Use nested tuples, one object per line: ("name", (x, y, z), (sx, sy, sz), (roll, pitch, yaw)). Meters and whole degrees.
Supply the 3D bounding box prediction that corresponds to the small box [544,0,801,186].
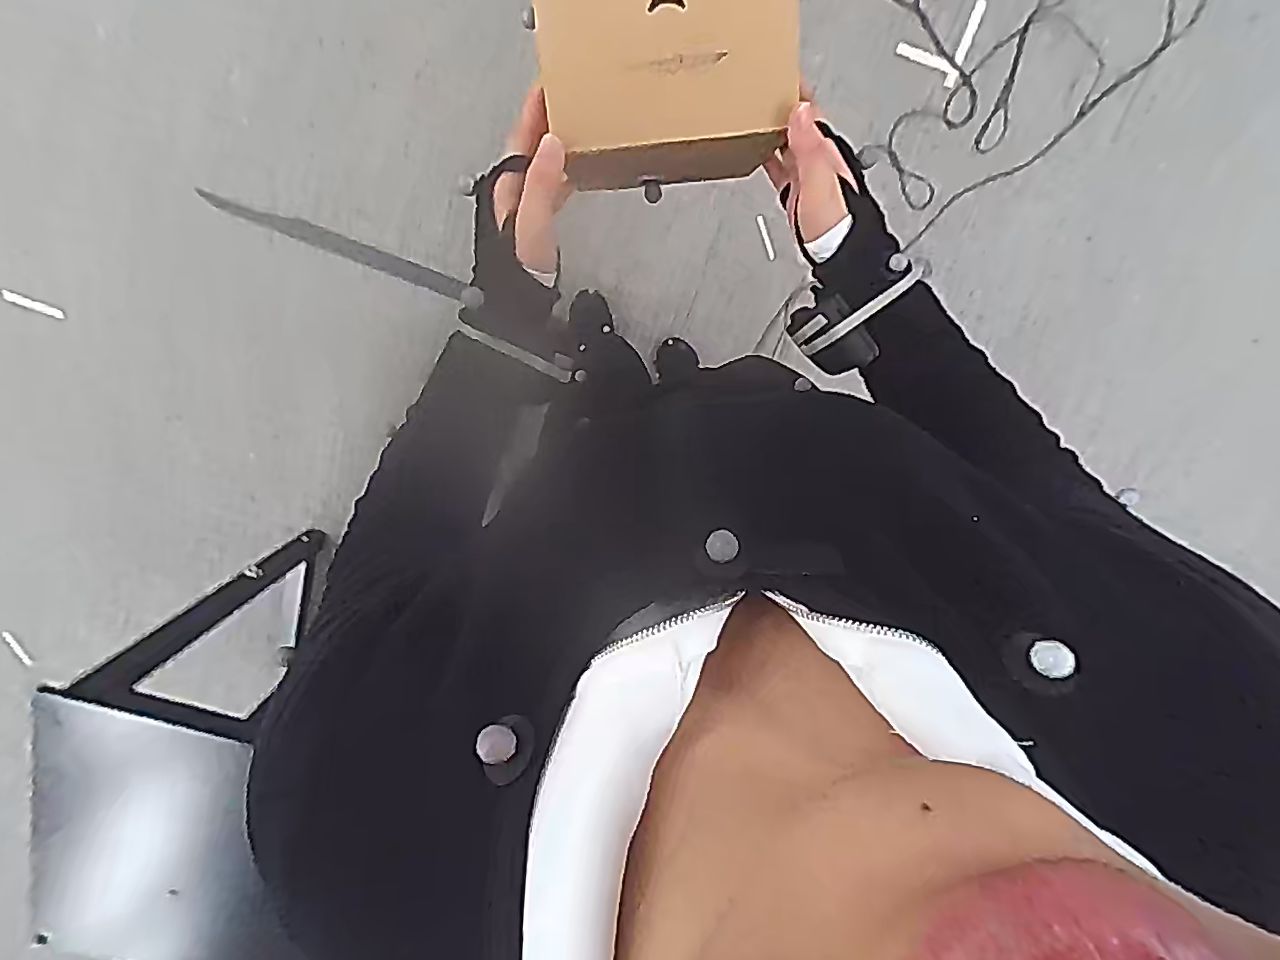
("small box", (0.018, -0.340, 0.411), (0.168, 0.176, 0.179), (-4, 110, 1))
